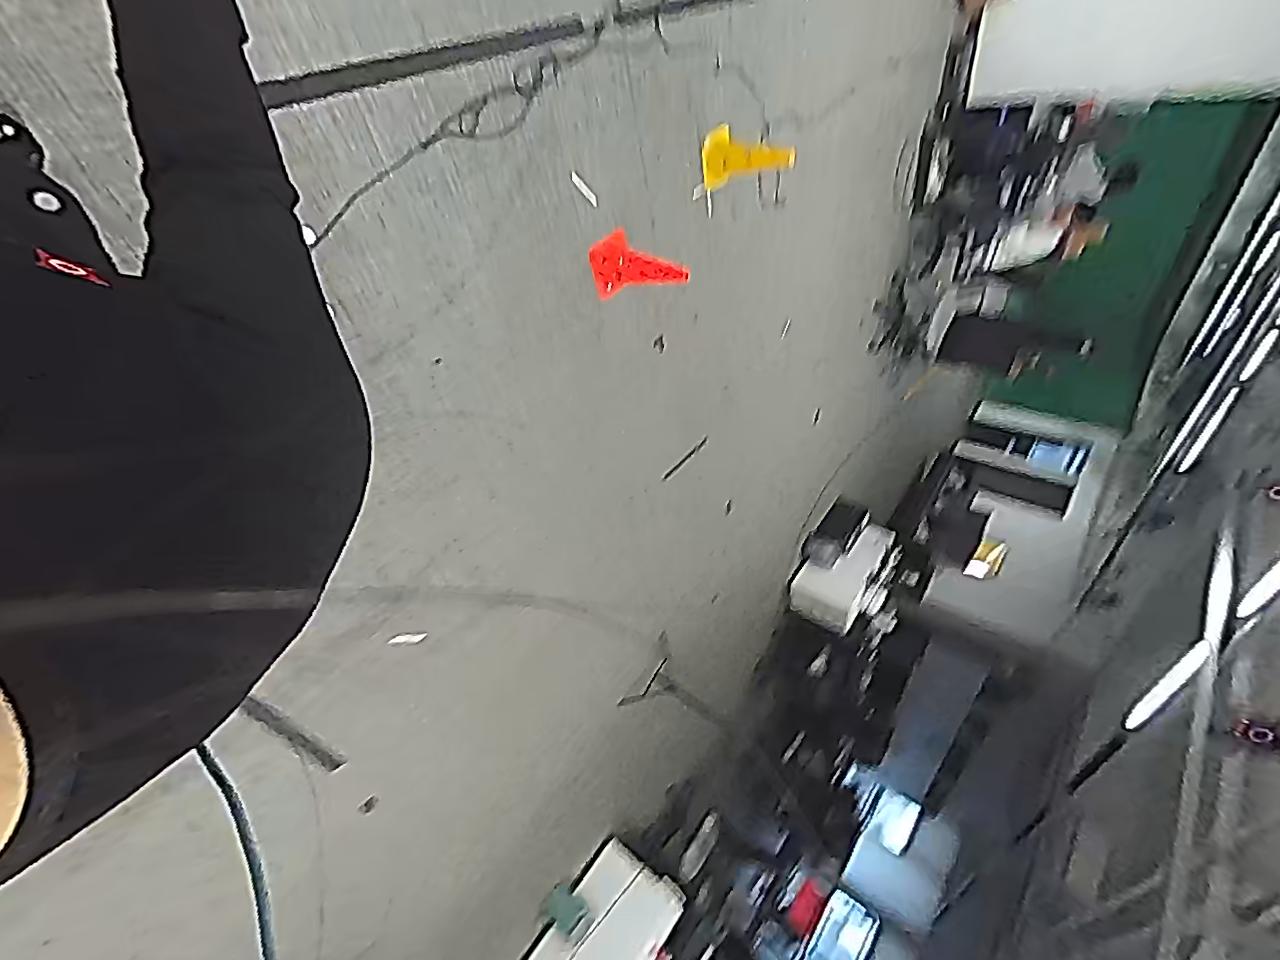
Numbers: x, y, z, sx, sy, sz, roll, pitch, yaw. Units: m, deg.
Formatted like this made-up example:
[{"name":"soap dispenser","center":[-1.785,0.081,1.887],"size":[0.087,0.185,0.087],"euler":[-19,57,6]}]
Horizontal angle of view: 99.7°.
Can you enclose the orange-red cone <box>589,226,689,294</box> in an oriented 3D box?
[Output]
[{"name":"orange-red cone","center":[0.023,-0.771,1.933],"size":[0.199,0.360,0.198],"euler":[-47,142,-29]}]
